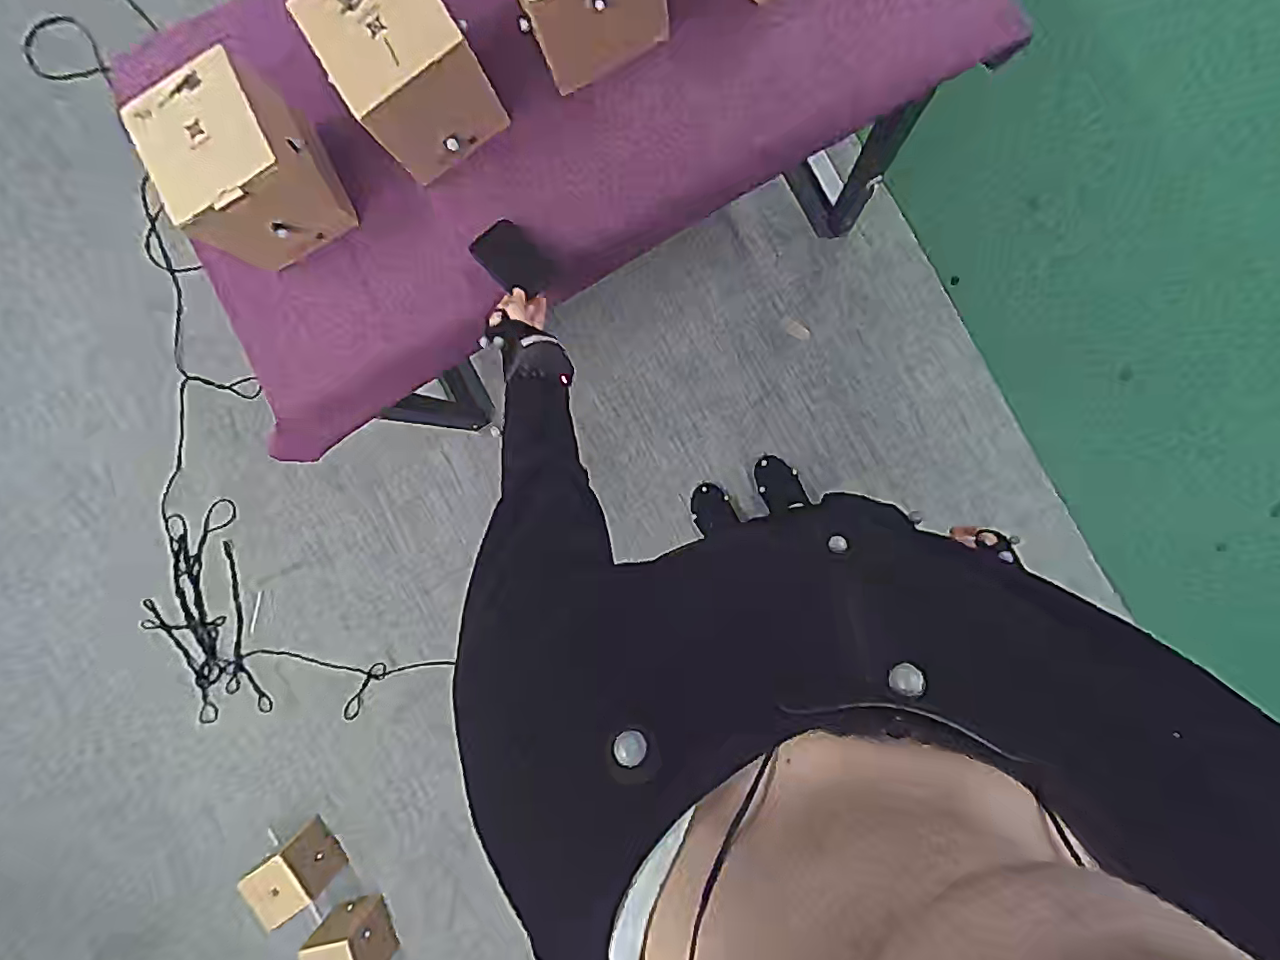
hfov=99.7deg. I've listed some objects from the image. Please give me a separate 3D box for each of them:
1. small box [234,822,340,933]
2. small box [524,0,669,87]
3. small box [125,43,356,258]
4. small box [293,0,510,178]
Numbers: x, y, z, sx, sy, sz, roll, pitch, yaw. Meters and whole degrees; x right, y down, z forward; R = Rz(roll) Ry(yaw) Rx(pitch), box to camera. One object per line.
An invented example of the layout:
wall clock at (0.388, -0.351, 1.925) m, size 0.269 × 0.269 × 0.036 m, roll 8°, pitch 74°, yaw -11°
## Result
small box at (-1.026, 1.162, 1.596) m, size 0.179 × 0.176 × 0.168 m, roll -36°, pitch 88°, yaw 7°
small box at (-0.073, -0.668, 0.701) m, size 0.179 × 0.176 × 0.168 m, roll -23°, pitch 89°, yaw 7°
small box at (-0.546, -0.441, 0.765) m, size 0.168 × 0.176 × 0.179 m, roll -26°, pitch 89°, yaw 7°
small box at (-0.308, -0.561, 0.732) m, size 0.168 × 0.176 × 0.179 m, roll -31°, pitch 89°, yaw 7°
